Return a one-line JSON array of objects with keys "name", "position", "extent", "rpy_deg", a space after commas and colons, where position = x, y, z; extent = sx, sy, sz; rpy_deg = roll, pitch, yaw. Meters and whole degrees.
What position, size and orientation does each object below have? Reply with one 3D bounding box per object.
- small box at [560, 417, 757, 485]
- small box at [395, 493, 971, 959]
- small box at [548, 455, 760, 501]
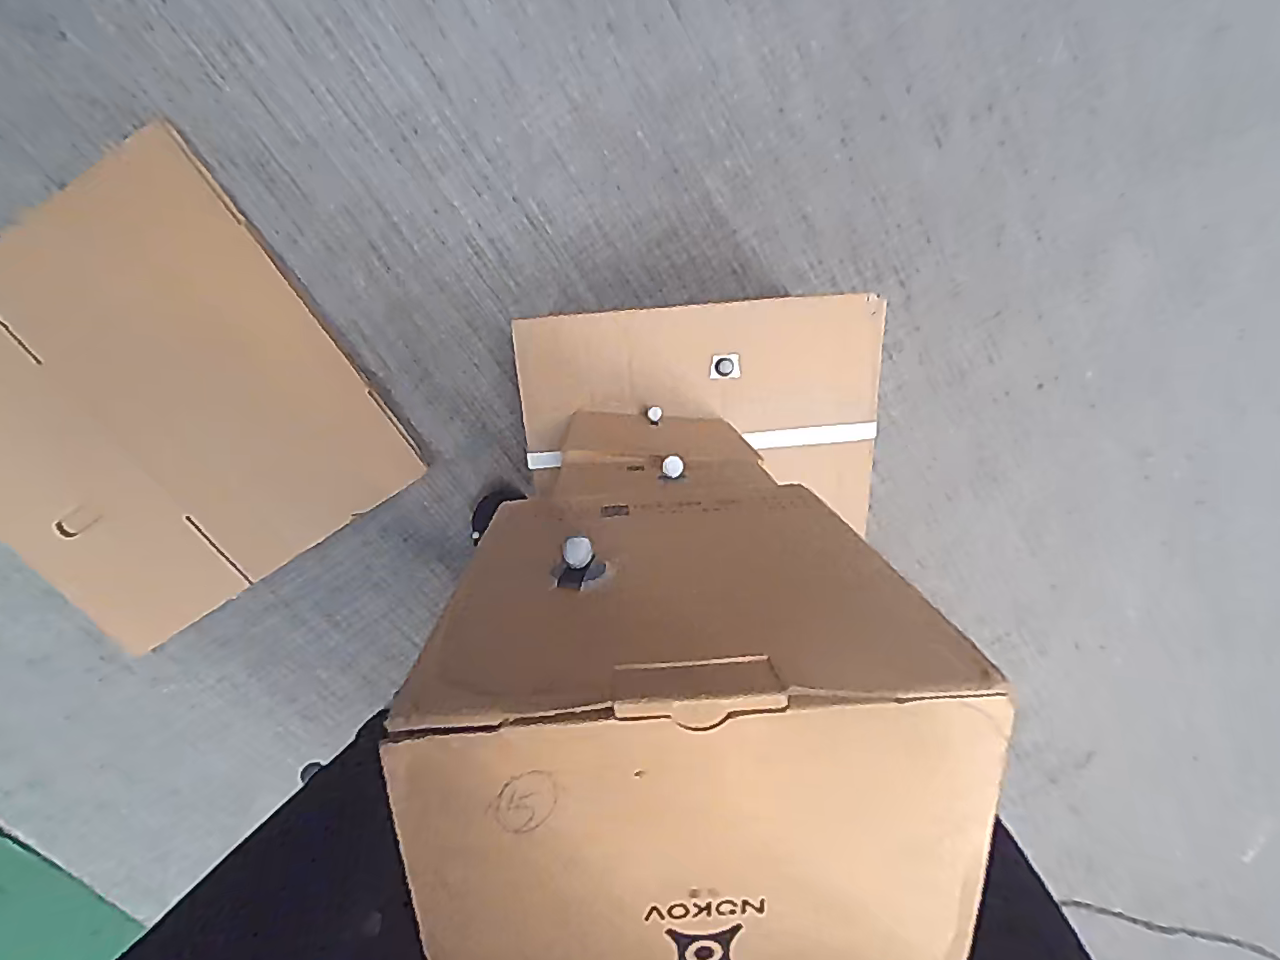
[{"name": "small box", "position": [0.012, 0.028, 0.570], "extent": [0.179, 0.176, 0.168], "rpy_deg": [-1, 106, -4]}, {"name": "small box", "position": [0.015, 0.111, 0.252], "extent": [0.168, 0.176, 0.179], "rpy_deg": [-4, 109, 0]}, {"name": "small box", "position": [0.018, 0.092, 0.415], "extent": [0.168, 0.176, 0.179], "rpy_deg": [-5, 109, 0]}]
